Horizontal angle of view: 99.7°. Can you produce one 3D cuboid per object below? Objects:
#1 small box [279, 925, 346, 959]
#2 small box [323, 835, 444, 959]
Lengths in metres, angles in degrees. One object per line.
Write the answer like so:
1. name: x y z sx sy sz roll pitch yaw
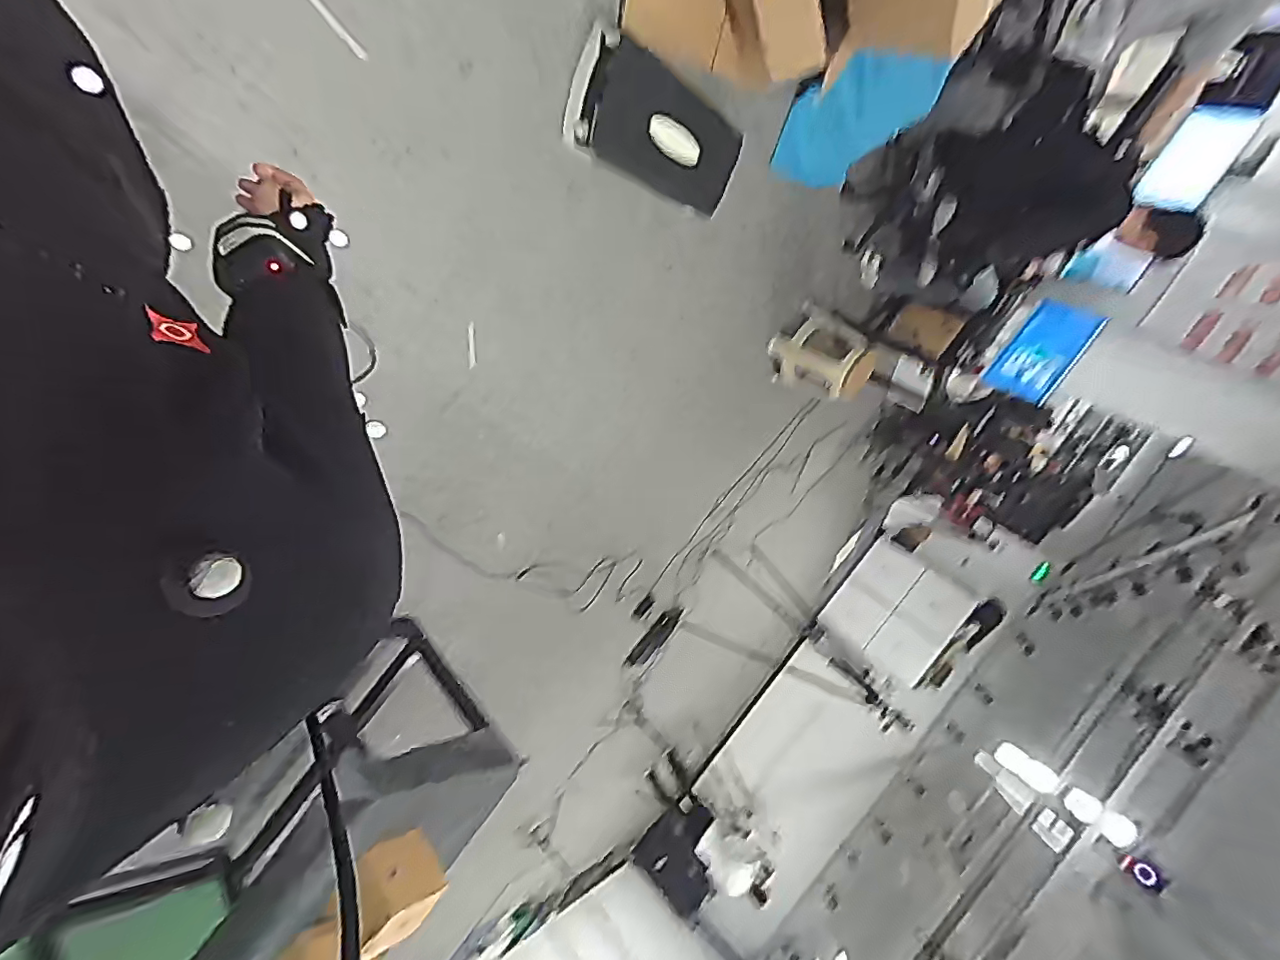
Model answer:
1. small box: -0.788 1.218 1.303 0.179 0.176 0.168 -50 151 -4
2. small box: -0.626 1.016 1.314 0.168 0.176 0.179 -53 152 4
